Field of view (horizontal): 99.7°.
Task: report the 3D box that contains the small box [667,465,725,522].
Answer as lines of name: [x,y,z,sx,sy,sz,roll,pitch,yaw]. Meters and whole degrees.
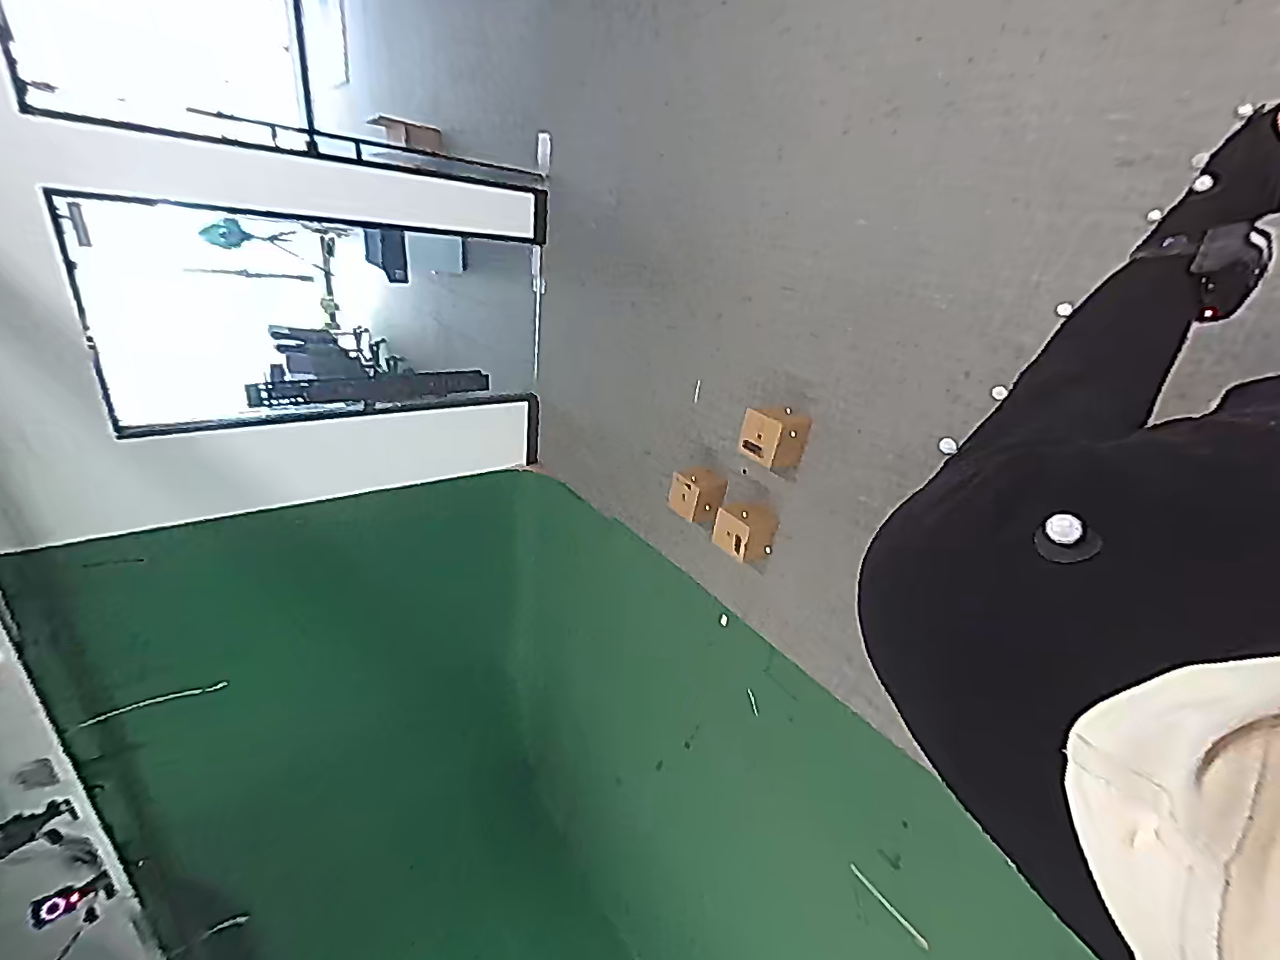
small box: [0.243,0.055,2.335,0.168,0.176,0.179,38,129,42]

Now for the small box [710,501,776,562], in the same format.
small box: [0.411,0.197,2.146,0.179,0.176,0.168,37,127,44]
